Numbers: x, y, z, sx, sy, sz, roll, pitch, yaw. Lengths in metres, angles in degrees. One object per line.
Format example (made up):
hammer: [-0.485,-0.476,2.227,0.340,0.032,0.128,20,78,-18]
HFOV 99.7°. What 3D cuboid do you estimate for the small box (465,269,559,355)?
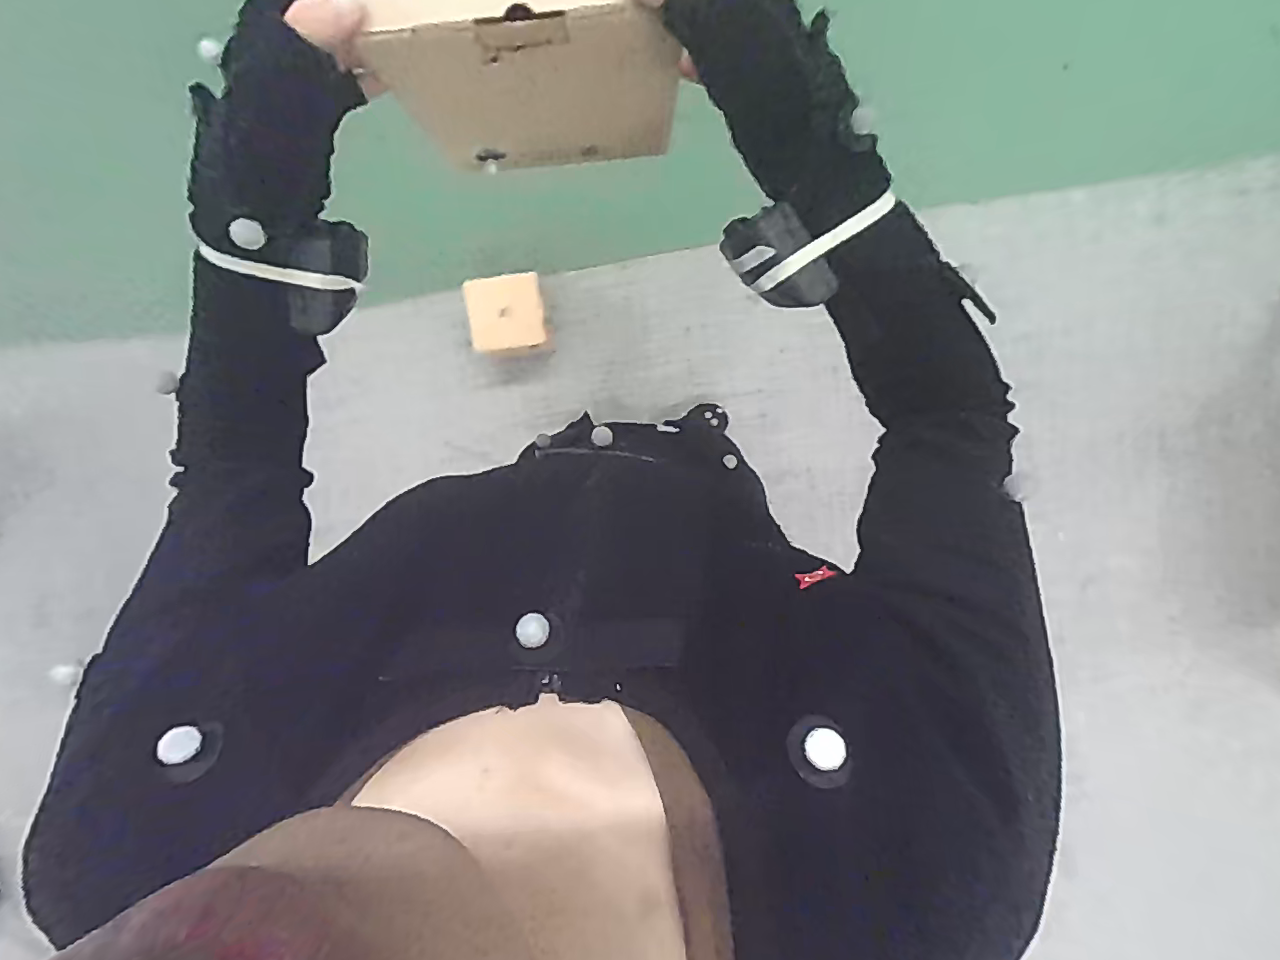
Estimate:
small box: [-0.312,-0.410,1.349,0.179,0.176,0.168,-8,98,1]
